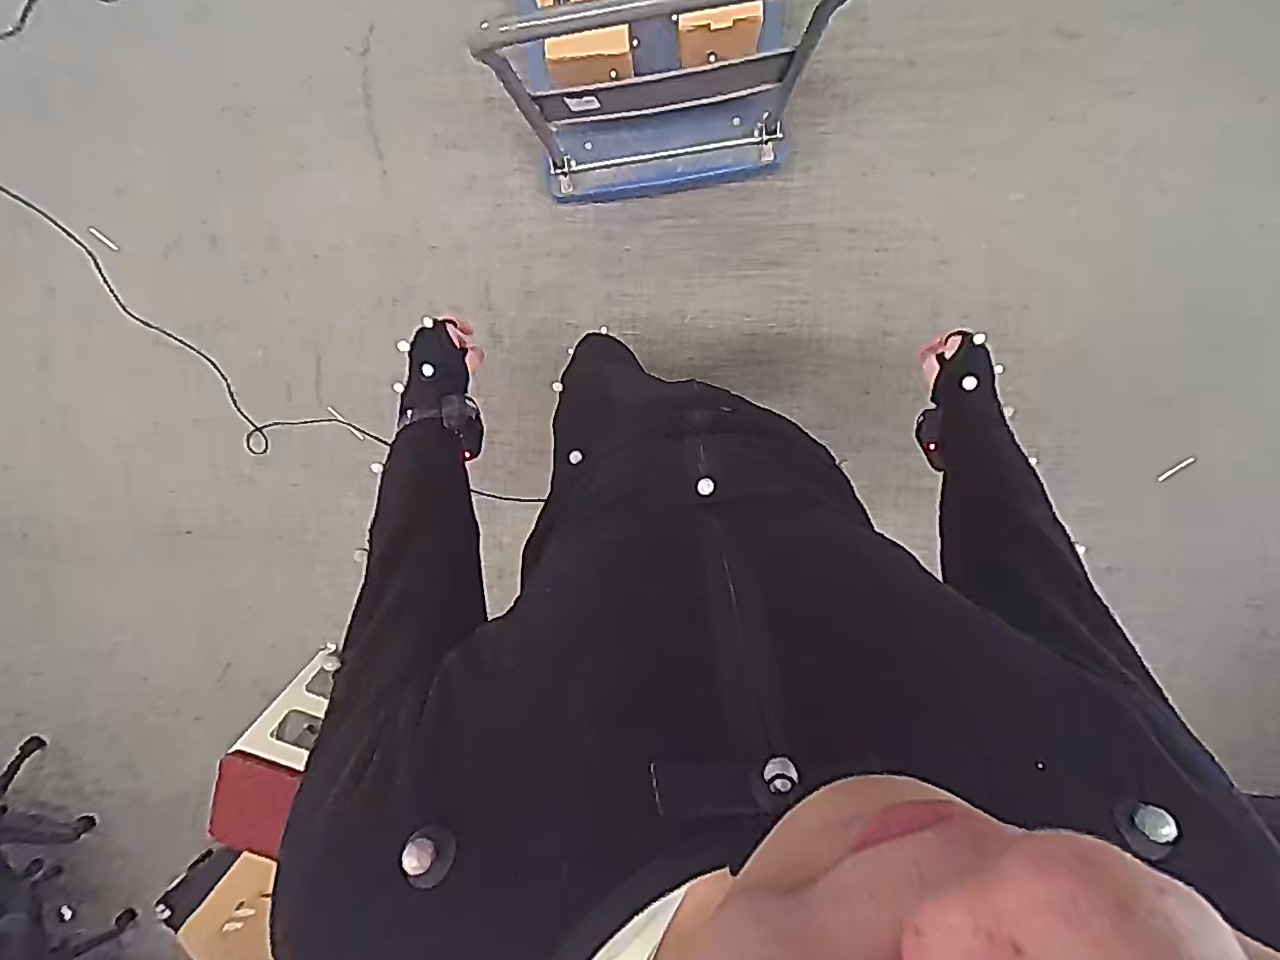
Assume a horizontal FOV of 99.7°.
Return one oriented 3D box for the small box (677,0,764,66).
[{"bbox_3d":[0.164,-1.026,1.143,0.168,0.176,0.179,-5,103,6],"label":"small box"}]
